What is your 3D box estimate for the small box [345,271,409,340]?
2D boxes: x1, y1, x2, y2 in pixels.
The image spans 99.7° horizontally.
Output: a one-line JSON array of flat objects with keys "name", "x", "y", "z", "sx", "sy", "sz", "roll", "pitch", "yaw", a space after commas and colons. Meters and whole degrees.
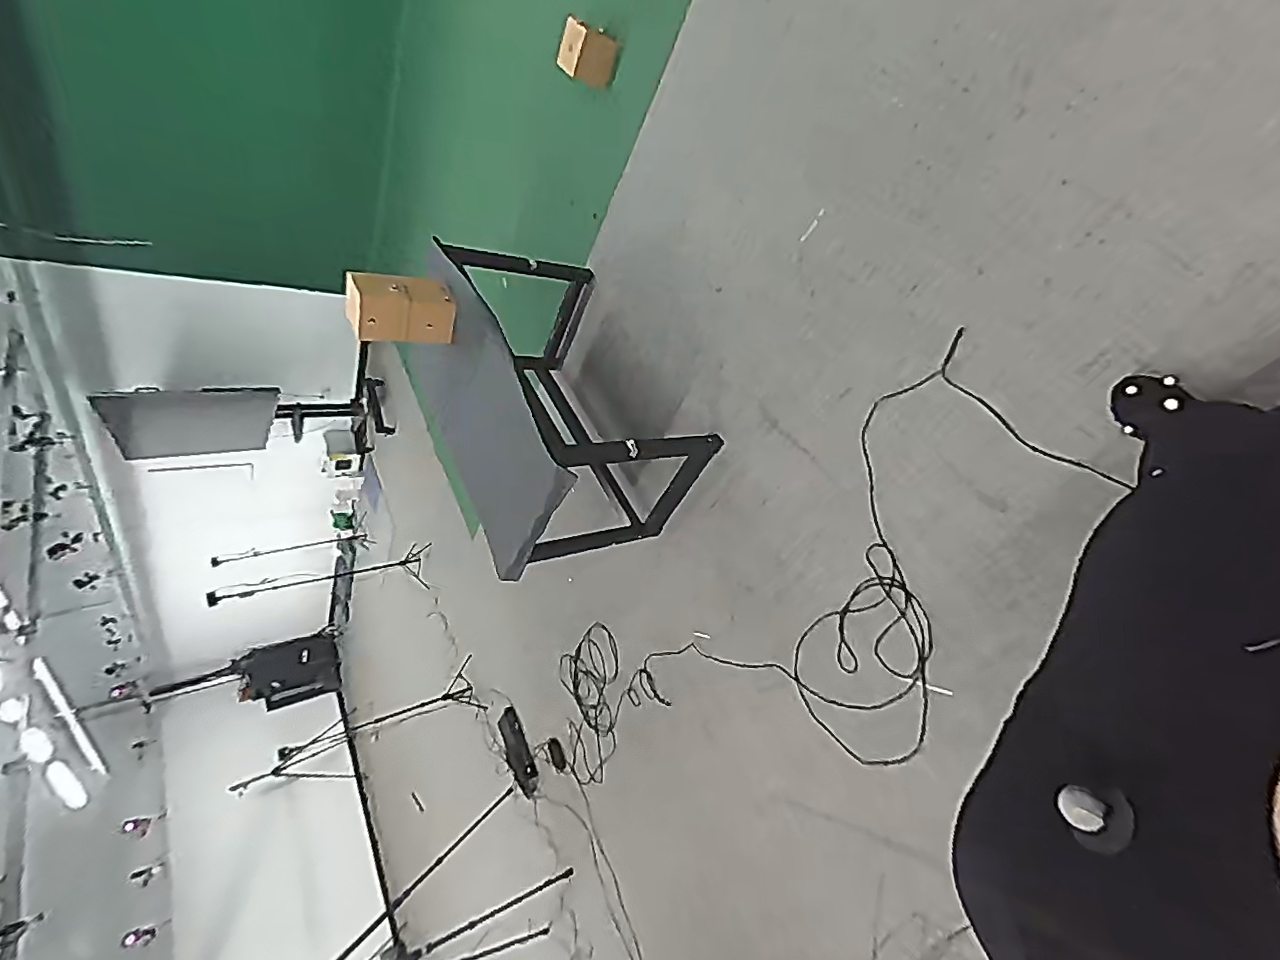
[{"name": "small box", "x": -0.930, "y": -0.612, "z": 1.911, "sx": 0.168, "sy": 0.176, "sz": 0.179, "roll": 52, "pitch": 134, "yaw": 29}]

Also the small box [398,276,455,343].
[{"name": "small box", "x": -0.805, "y": -0.632, "z": 2.014, "sx": 0.168, "sy": 0.176, "sz": 0.179, "roll": 57, "pitch": 137, "yaw": 27}]

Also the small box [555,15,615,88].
[{"name": "small box", "x": -0.229, "y": -1.802, "z": 2.282, "sx": 0.168, "sy": 0.176, "sz": 0.179, "roll": 56, "pitch": 134, "yaw": 28}]
